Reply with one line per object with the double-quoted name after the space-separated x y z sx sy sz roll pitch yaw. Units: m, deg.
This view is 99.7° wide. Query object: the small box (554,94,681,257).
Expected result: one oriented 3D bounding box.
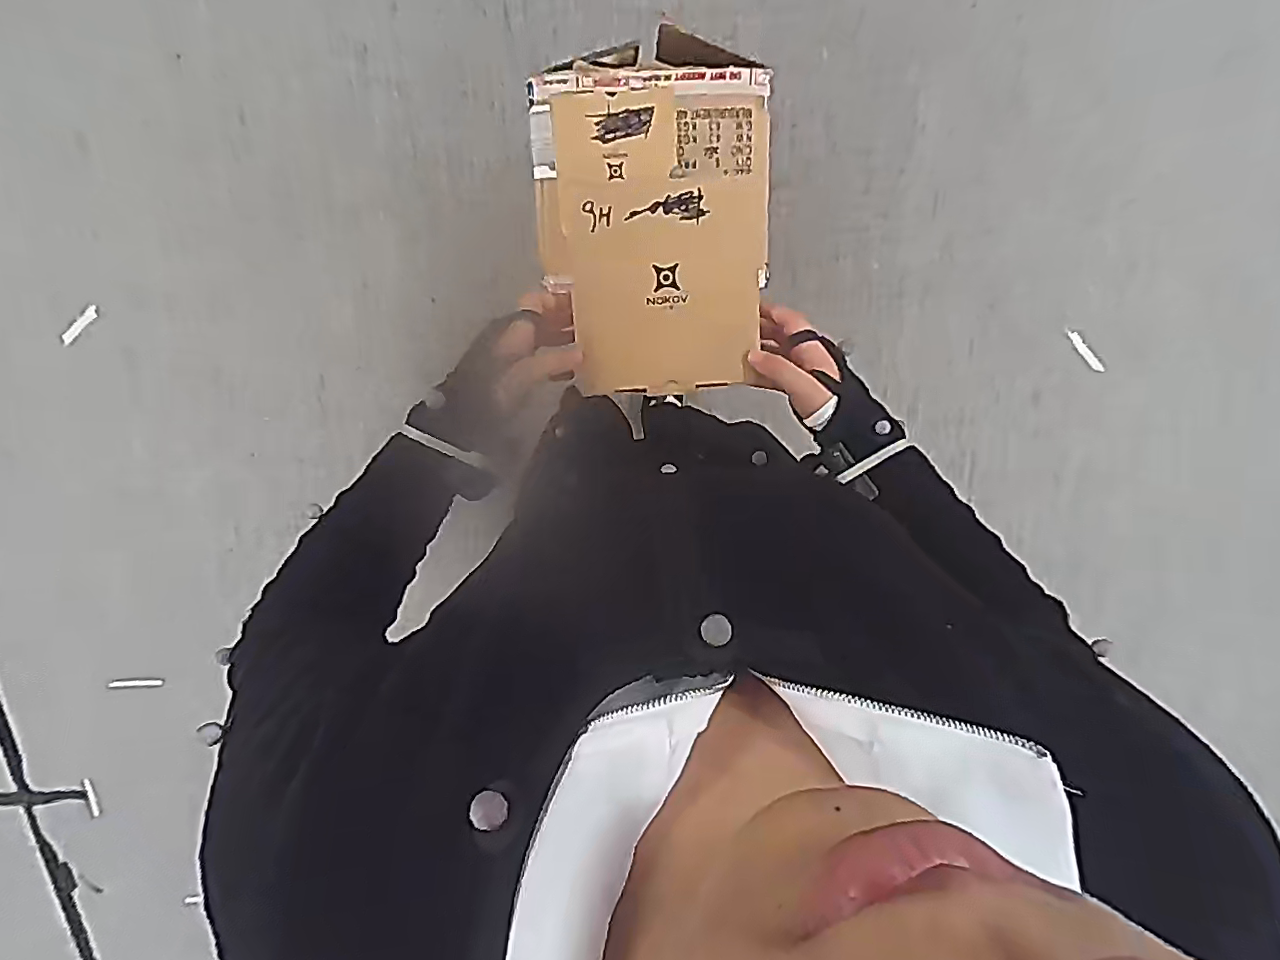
-0.031 -0.437 0.801 0.168 0.176 0.179 -3 107 0 "small box"
